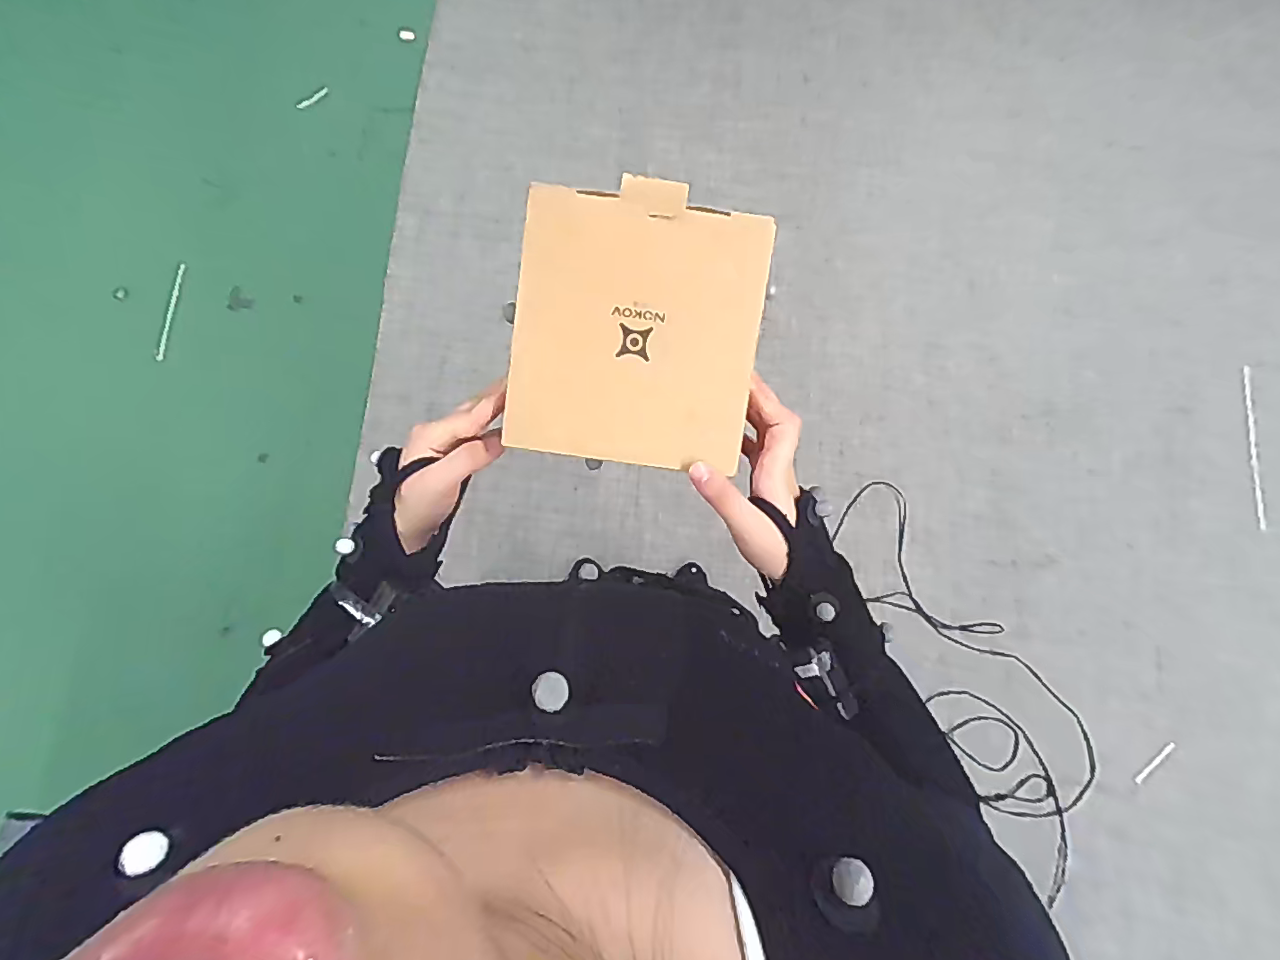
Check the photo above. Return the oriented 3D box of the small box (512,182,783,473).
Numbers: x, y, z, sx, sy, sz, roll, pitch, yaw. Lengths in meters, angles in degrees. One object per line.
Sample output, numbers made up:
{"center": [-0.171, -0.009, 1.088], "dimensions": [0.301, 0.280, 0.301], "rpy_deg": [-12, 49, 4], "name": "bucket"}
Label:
{"center": [0.003, -0.108, 0.442], "dimensions": [0.168, 0.176, 0.179], "rpy_deg": [7, 96, -1], "name": "small box"}
